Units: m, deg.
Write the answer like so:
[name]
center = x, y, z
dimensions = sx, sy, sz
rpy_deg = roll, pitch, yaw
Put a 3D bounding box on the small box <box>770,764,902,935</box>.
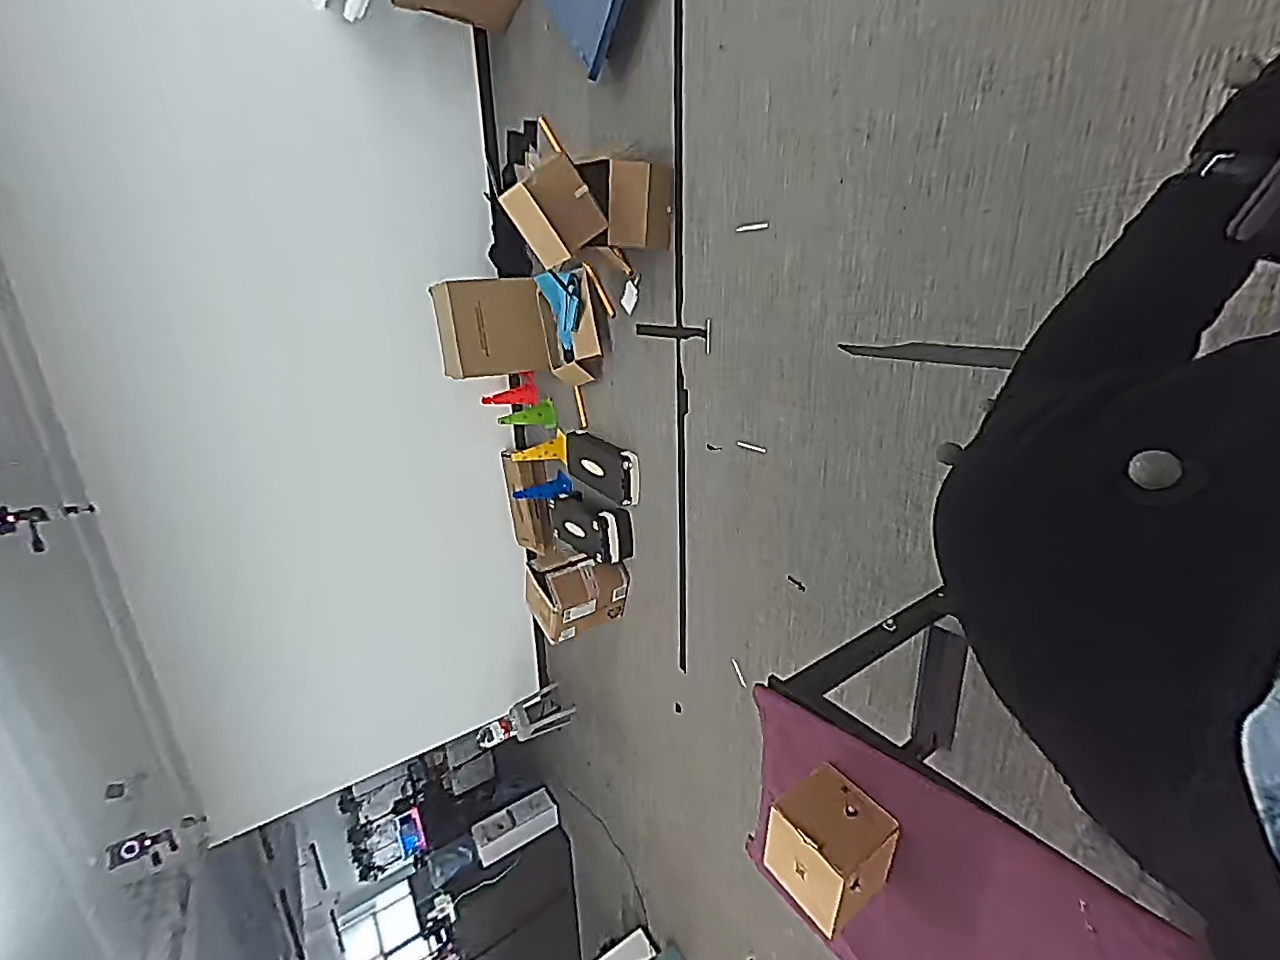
[small box]
center = 0.372, 0.694, 1.034
dimensions = 0.168, 0.176, 0.179
rpy_deg = 29, 127, 50
